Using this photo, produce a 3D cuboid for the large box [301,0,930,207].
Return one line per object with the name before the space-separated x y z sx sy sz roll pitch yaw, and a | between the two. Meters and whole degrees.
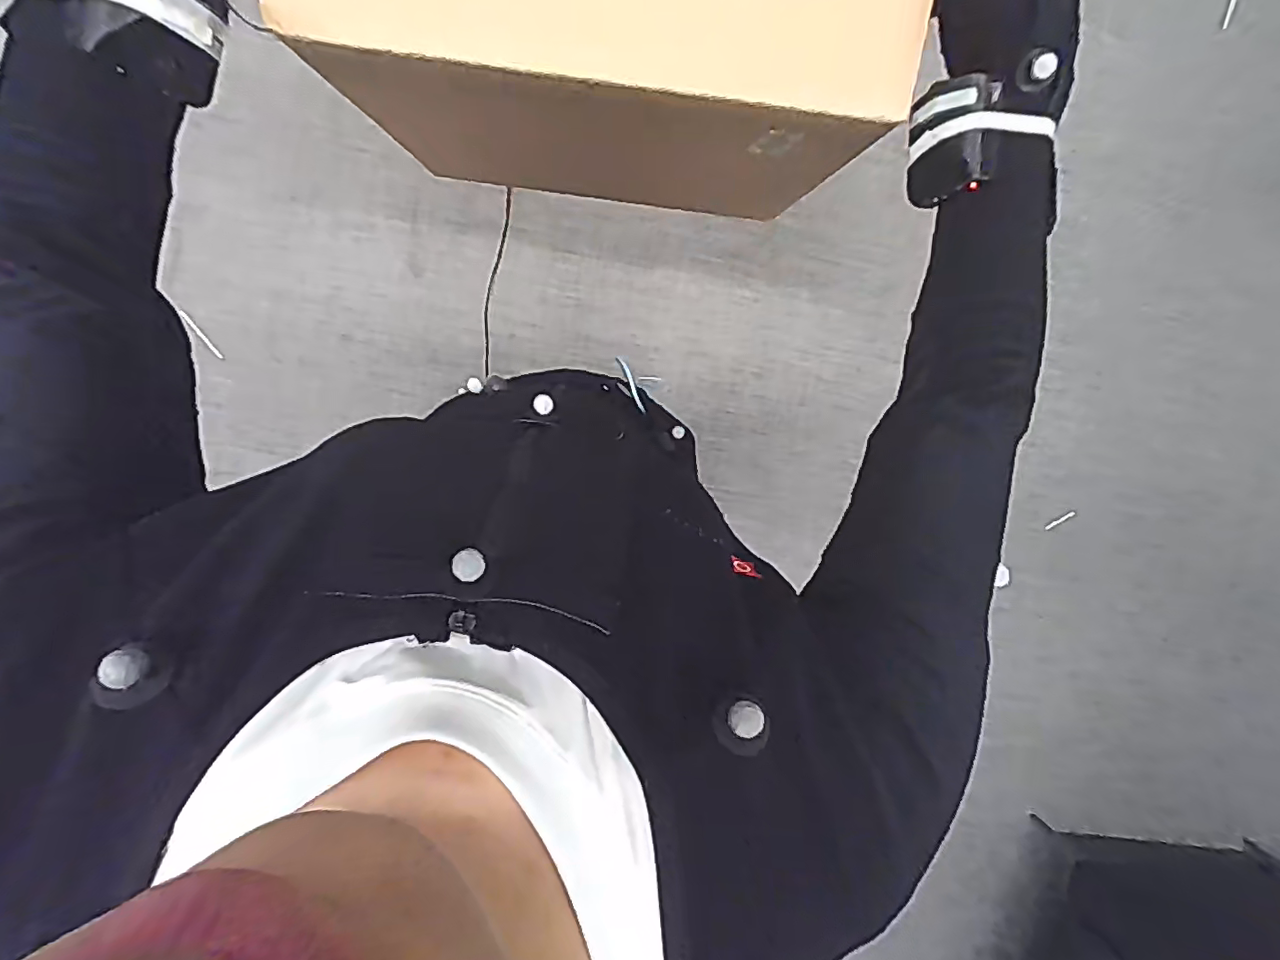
large box | -0.010 -0.449 0.456 0.408 0.320 0.320 5 106 -5
